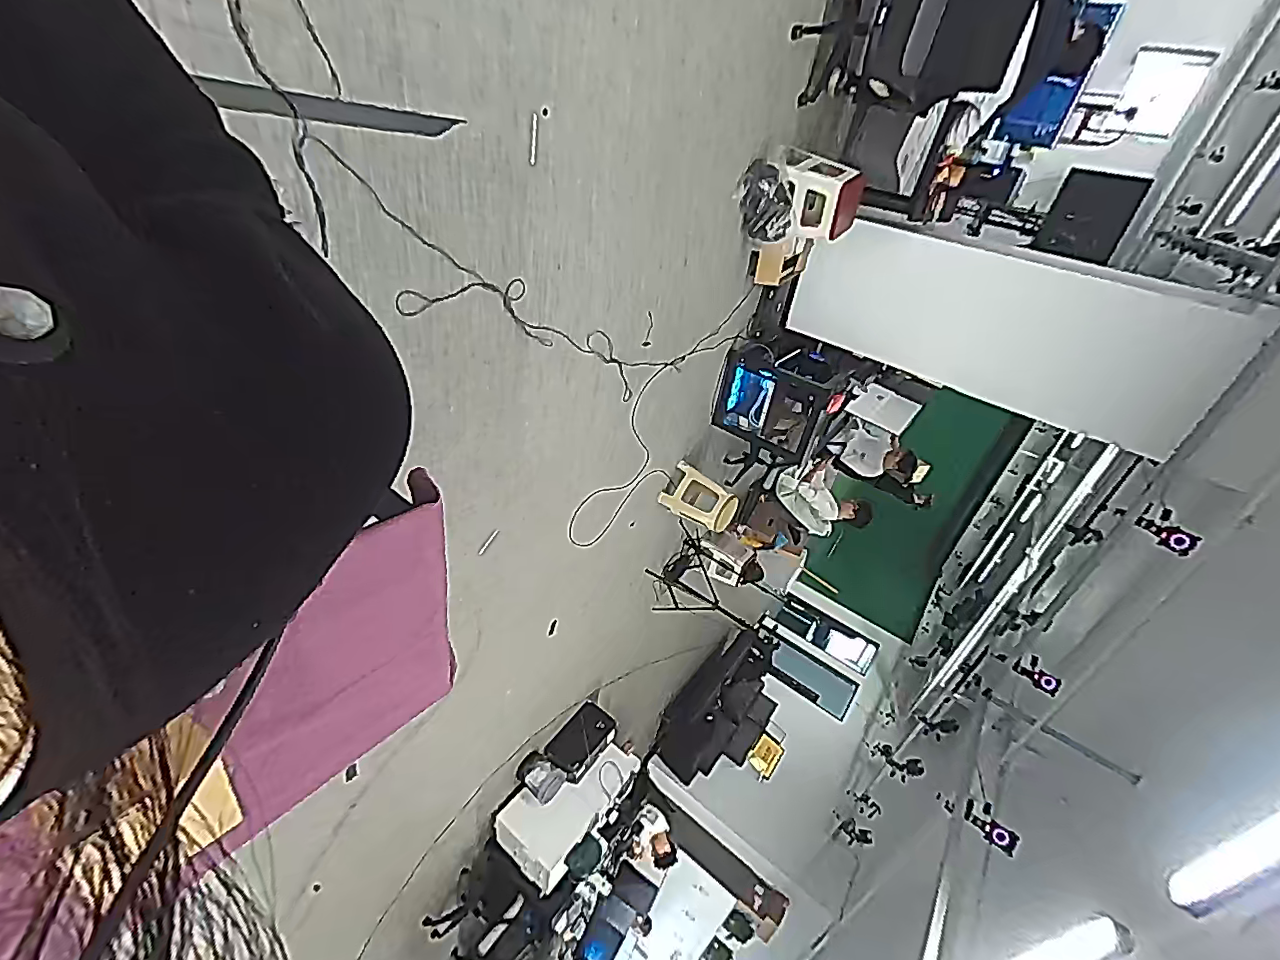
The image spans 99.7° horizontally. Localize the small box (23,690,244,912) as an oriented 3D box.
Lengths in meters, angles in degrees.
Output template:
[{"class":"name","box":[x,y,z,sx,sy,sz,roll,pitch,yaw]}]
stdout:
[{"class":"small box","box":[-0.700,0.437,0.760,0.168,0.176,0.179,-30,142,-49]}]
